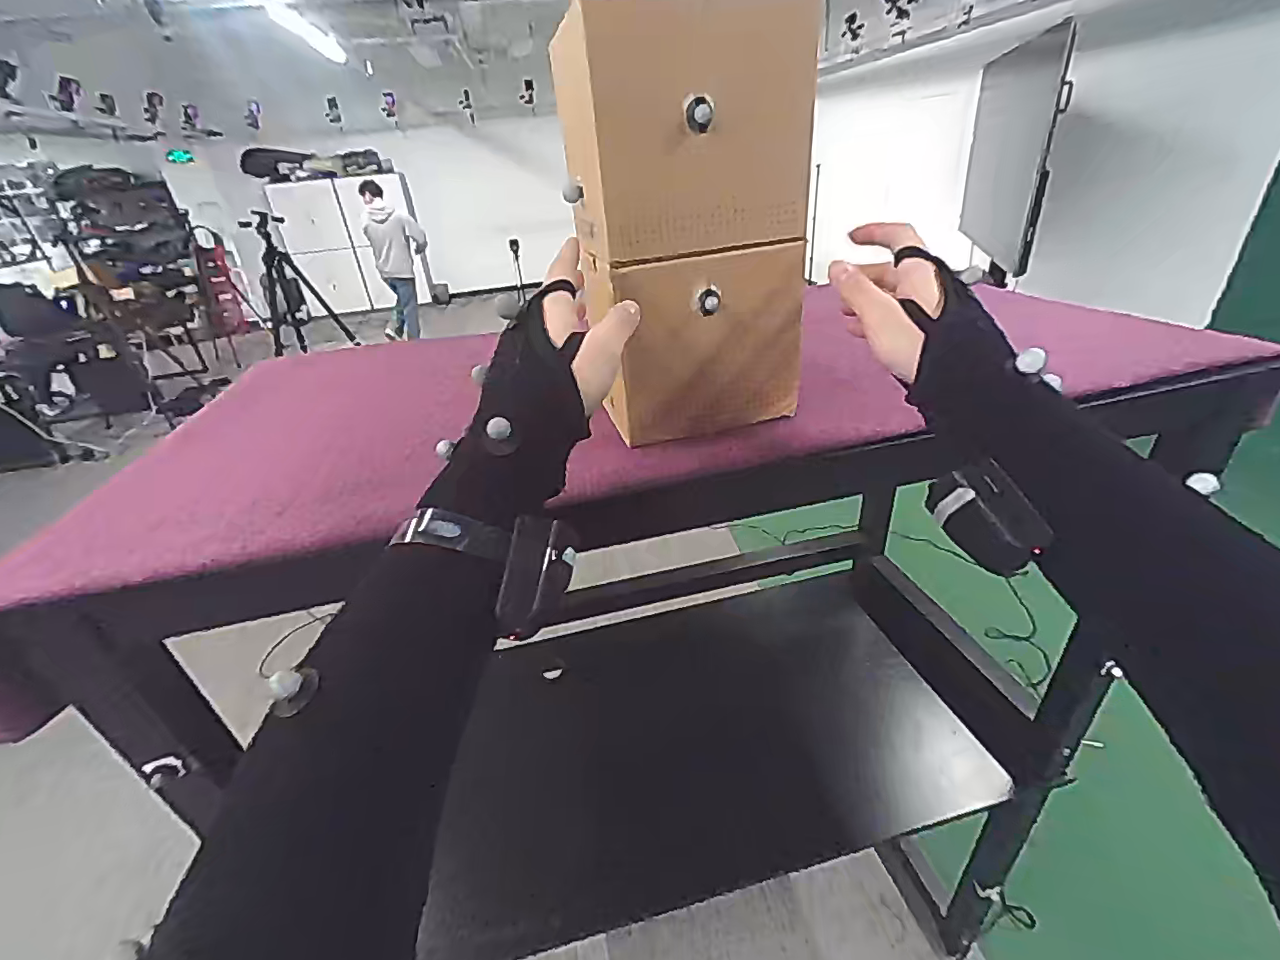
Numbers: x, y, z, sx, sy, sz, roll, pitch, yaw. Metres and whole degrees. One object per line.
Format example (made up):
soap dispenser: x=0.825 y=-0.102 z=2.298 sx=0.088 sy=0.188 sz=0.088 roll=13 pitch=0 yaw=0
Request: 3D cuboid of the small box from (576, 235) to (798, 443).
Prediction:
small box: x=0.043 y=-0.150 z=0.549 sx=0.179 sy=0.176 sz=0.168 roll=-11 pitch=31 yaw=-10

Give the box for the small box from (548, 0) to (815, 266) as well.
small box: x=0.028 y=-0.292 z=0.468 sx=0.179 sy=0.176 sz=0.168 roll=-13 pitch=31 yaw=-9
